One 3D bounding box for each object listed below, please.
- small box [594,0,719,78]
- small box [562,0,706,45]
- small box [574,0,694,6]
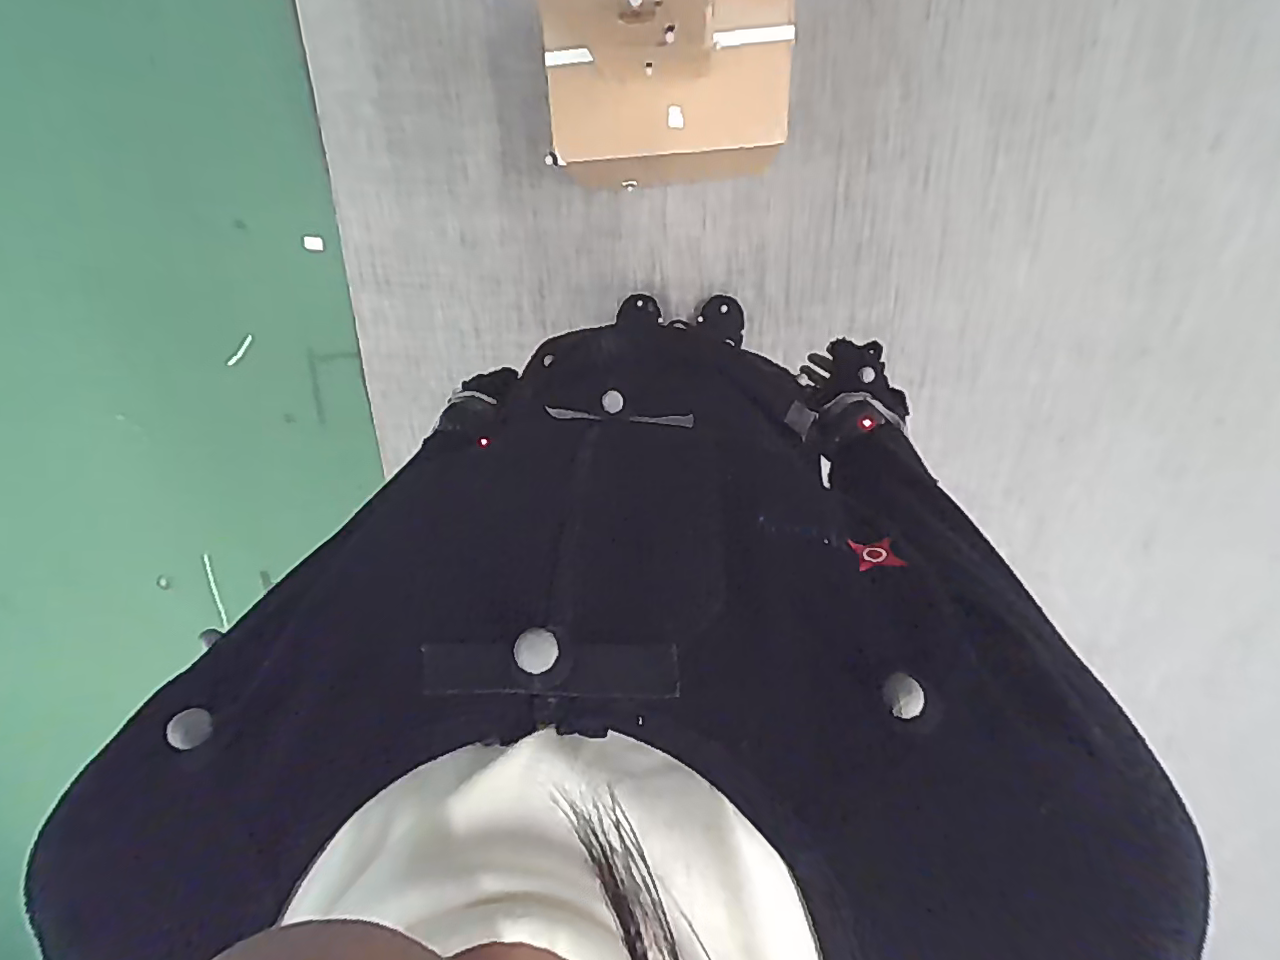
[{"bbox_3d":[0.023,-0.711,0.792,0.179,0.176,0.168,-2,116,6],"label":"small box"},{"bbox_3d":[-0.001,-0.647,0.645,0.168,0.176,0.179,1,115,5],"label":"small box"},{"bbox_3d":[-0.012,-0.573,0.500,0.168,0.176,0.179,1,117,6],"label":"small box"}]
